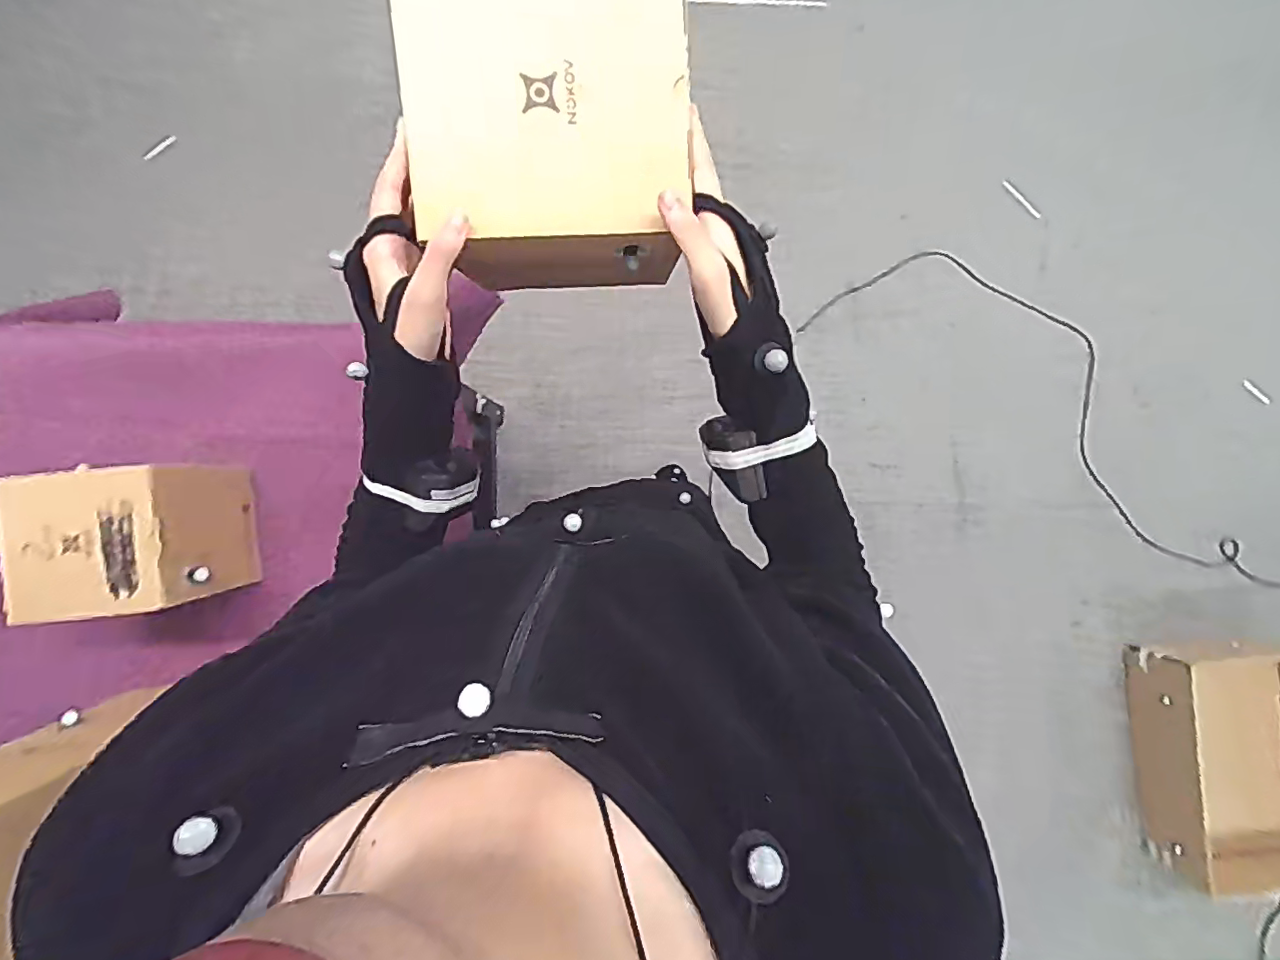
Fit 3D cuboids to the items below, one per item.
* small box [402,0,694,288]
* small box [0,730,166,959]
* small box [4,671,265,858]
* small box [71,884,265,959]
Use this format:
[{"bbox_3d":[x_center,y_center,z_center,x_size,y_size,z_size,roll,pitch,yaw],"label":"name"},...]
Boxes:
[{"bbox_3d":[-0.058,-0.246,0.411,0.179,0.176,0.168,-3,100,-4],"label":"small box"},{"bbox_3d":[-0.627,0.370,0.537,0.168,0.176,0.179,-6,91,-1],"label":"small box"},{"bbox_3d":[-0.636,0.365,0.700,0.179,0.176,0.168,-8,91,-2],"label":"small box"},{"bbox_3d":[-0.623,0.664,0.703,0.168,0.176,0.179,-2,91,-1],"label":"small box"}]
